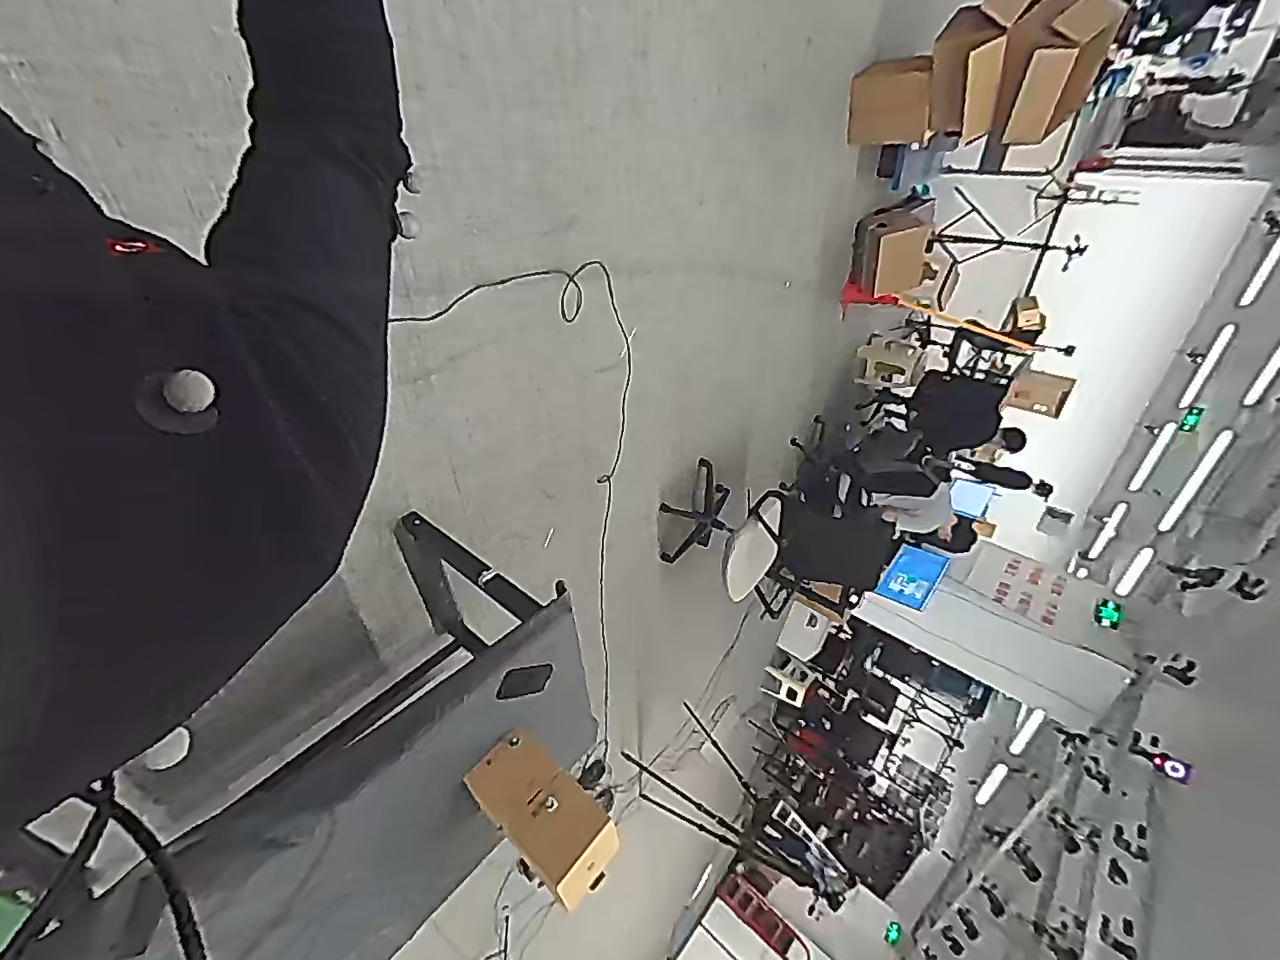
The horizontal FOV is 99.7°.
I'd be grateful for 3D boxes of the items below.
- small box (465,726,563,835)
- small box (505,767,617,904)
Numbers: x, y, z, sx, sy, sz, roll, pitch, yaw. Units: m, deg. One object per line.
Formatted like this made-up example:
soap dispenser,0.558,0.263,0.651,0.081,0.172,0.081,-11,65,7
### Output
small box,-0.295,0.731,1.306,0.168,0.176,0.179,-38,139,-34
small box,-0.175,0.791,1.216,0.168,0.176,0.179,-39,138,-34
